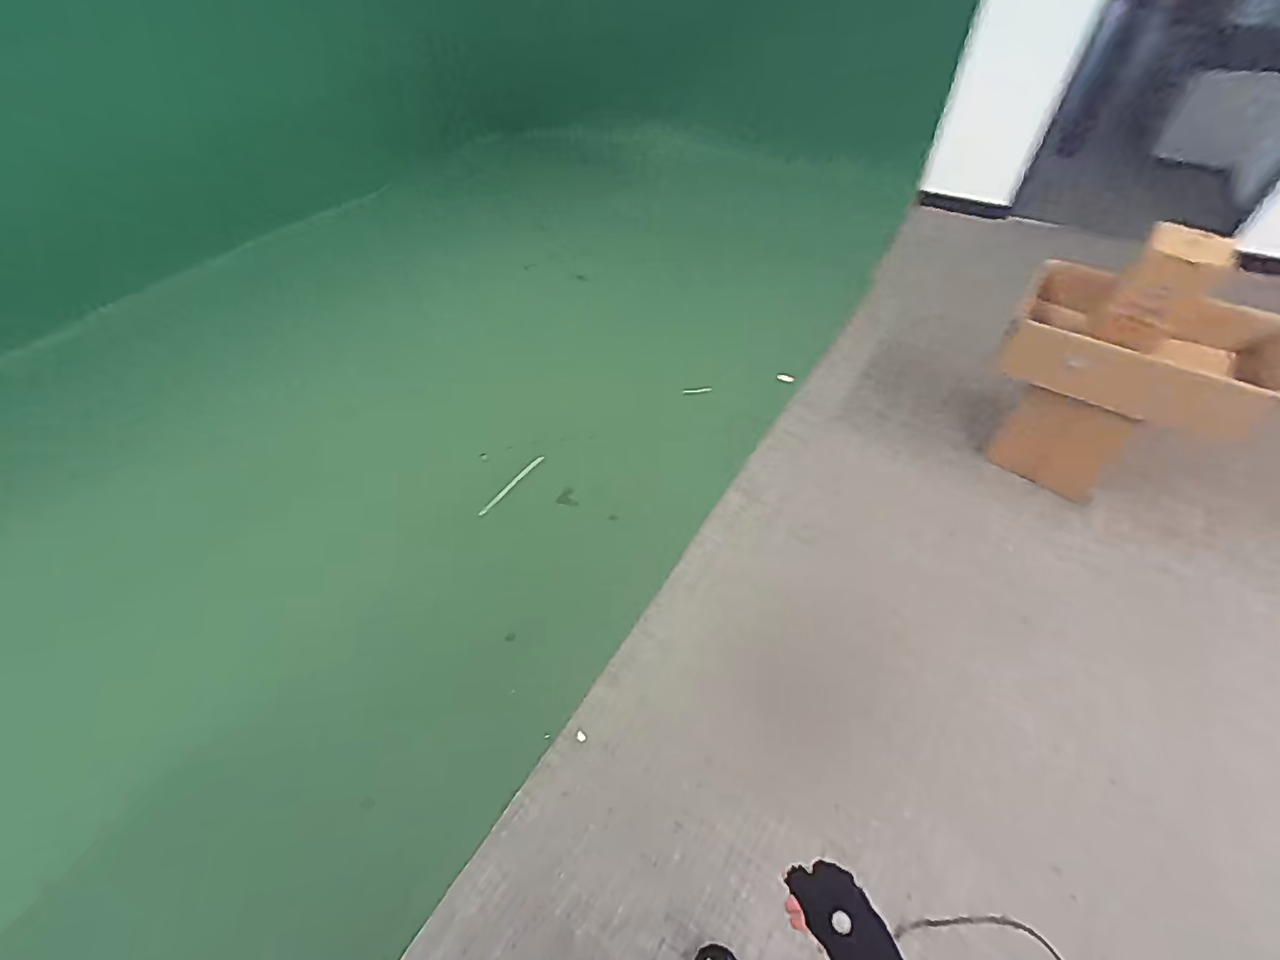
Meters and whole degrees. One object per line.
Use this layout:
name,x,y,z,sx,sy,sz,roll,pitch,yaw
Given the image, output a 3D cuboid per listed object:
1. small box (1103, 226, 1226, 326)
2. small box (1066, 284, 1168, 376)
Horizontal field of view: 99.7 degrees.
small box,1.388,-0.539,1.440,0.168,0.176,0.179,32,58,22
small box,1.380,-0.430,1.562,0.168,0.176,0.179,32,56,22
